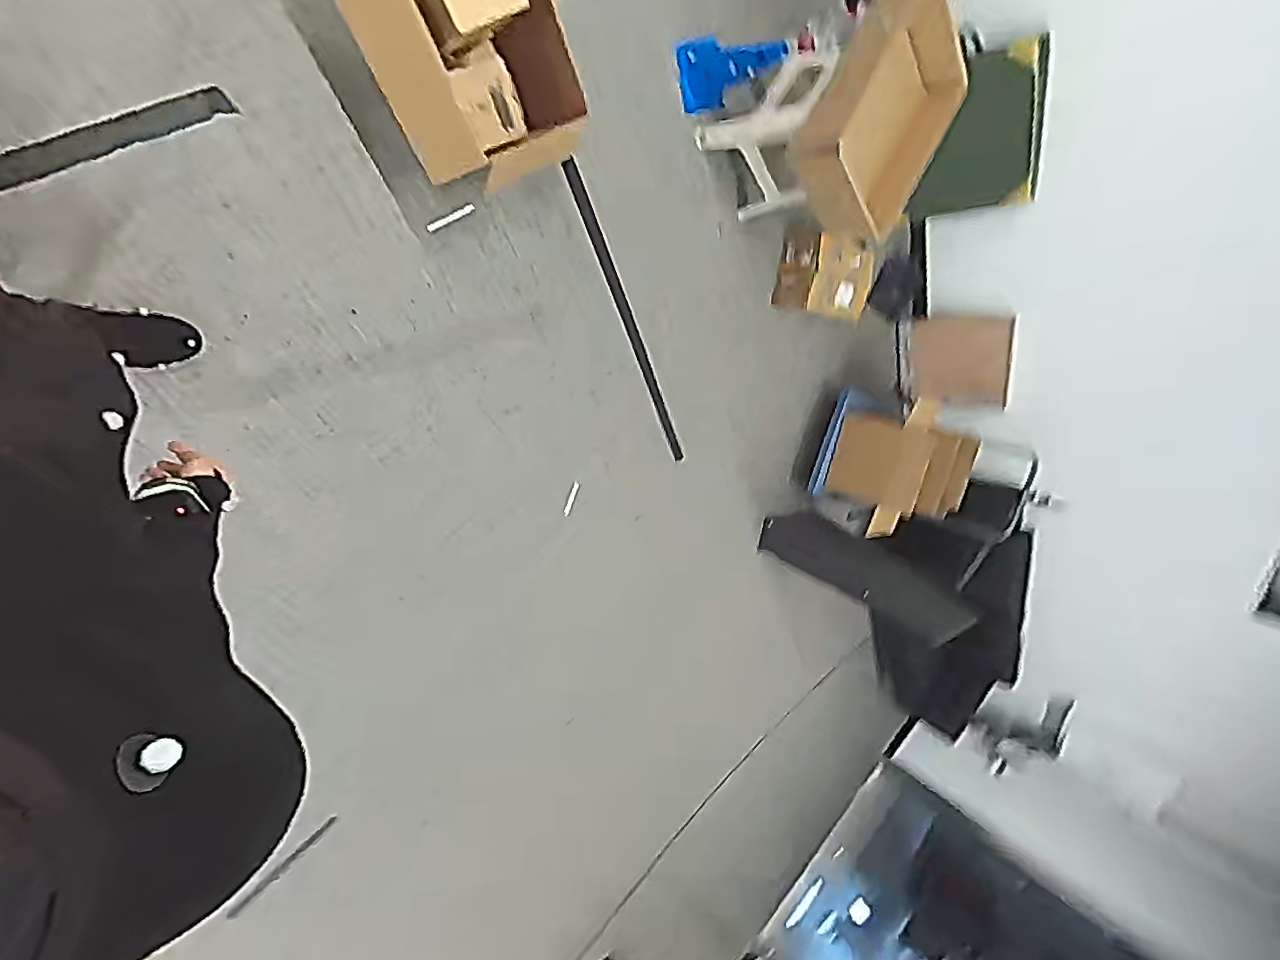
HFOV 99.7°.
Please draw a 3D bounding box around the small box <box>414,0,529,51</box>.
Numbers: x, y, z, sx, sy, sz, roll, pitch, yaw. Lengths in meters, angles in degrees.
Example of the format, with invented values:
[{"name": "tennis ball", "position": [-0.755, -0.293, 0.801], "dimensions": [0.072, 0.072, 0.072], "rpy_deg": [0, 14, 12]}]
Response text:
[{"name": "small box", "position": [-0.369, -1.026, 1.115], "dimensions": [0.179, 0.176, 0.168], "rpy_deg": [-41, 130, -20]}]
